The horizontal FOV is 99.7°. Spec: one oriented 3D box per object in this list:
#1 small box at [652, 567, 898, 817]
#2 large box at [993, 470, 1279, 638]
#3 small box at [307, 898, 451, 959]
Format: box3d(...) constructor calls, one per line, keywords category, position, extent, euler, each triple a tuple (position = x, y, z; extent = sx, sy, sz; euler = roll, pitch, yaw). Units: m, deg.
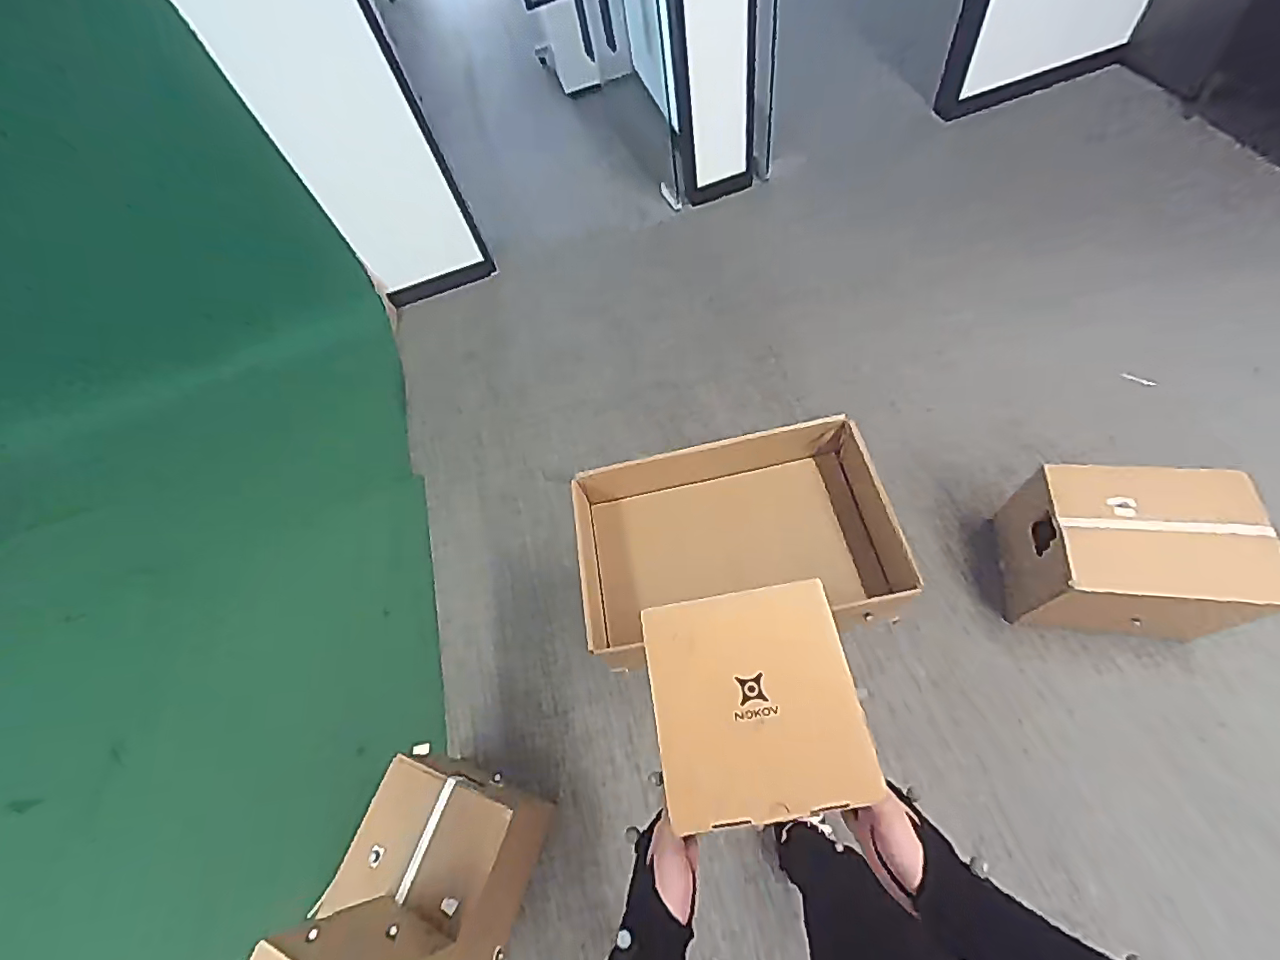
box3d(category="small box", position=(0.109, 0.203, 0.511), extent=(0.168, 0.176, 0.179), euler=(-11, 61, 2))
box3d(category="large box", position=(1.152, 0.184, 1.302), extent=(0.408, 0.320, 0.320), euler=(2, 61, 12))
box3d(category="small box", position=(-0.463, 0.861, 0.930), extent=(0.179, 0.176, 0.168), euler=(17, 65, 18))
